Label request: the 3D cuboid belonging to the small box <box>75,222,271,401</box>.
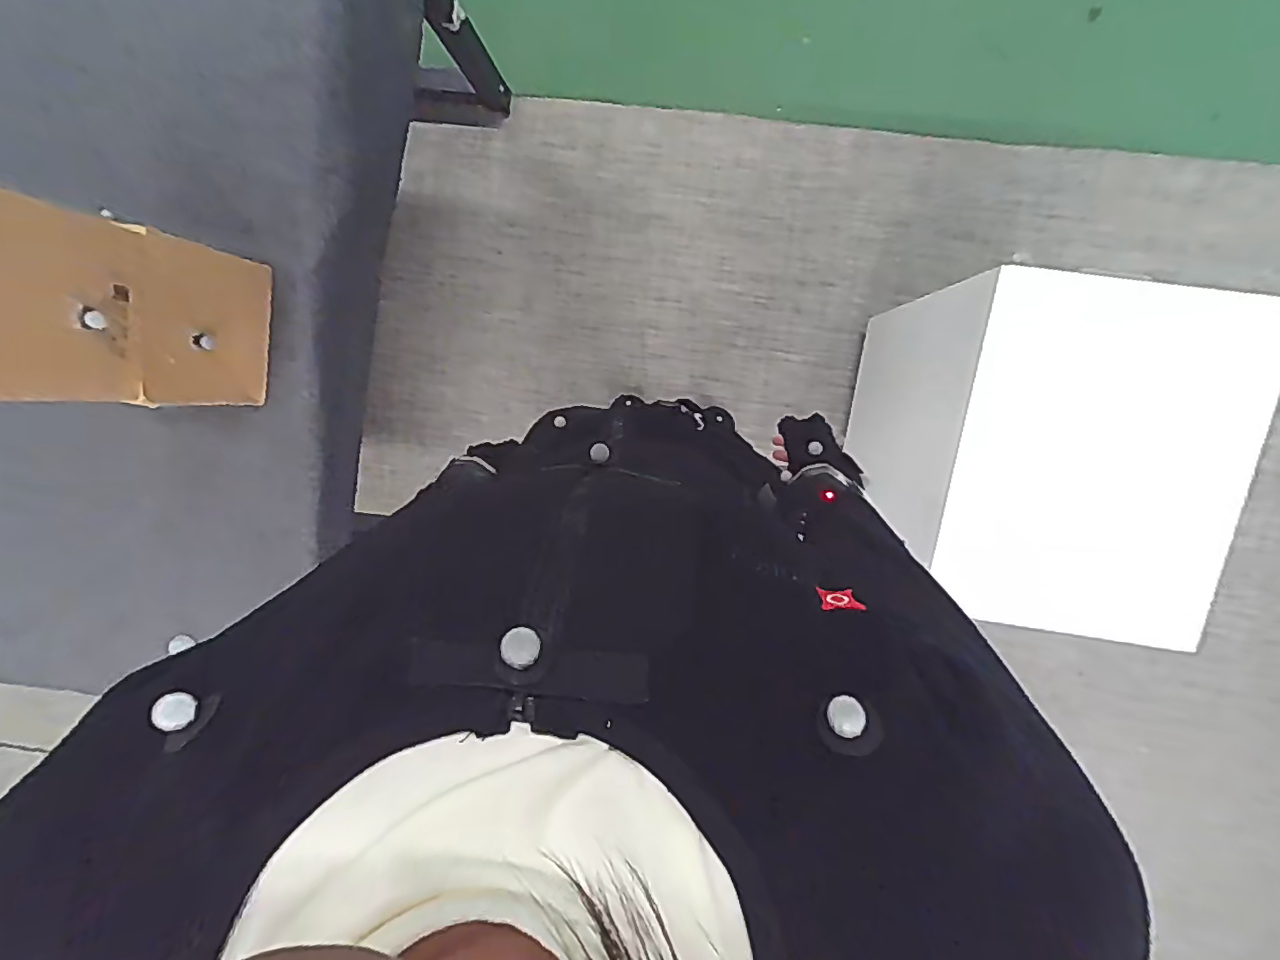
[{"bbox_3d":[-0.565,-0.193,0.625,0.168,0.176,0.179,10,100,4],"label":"small box"}]
